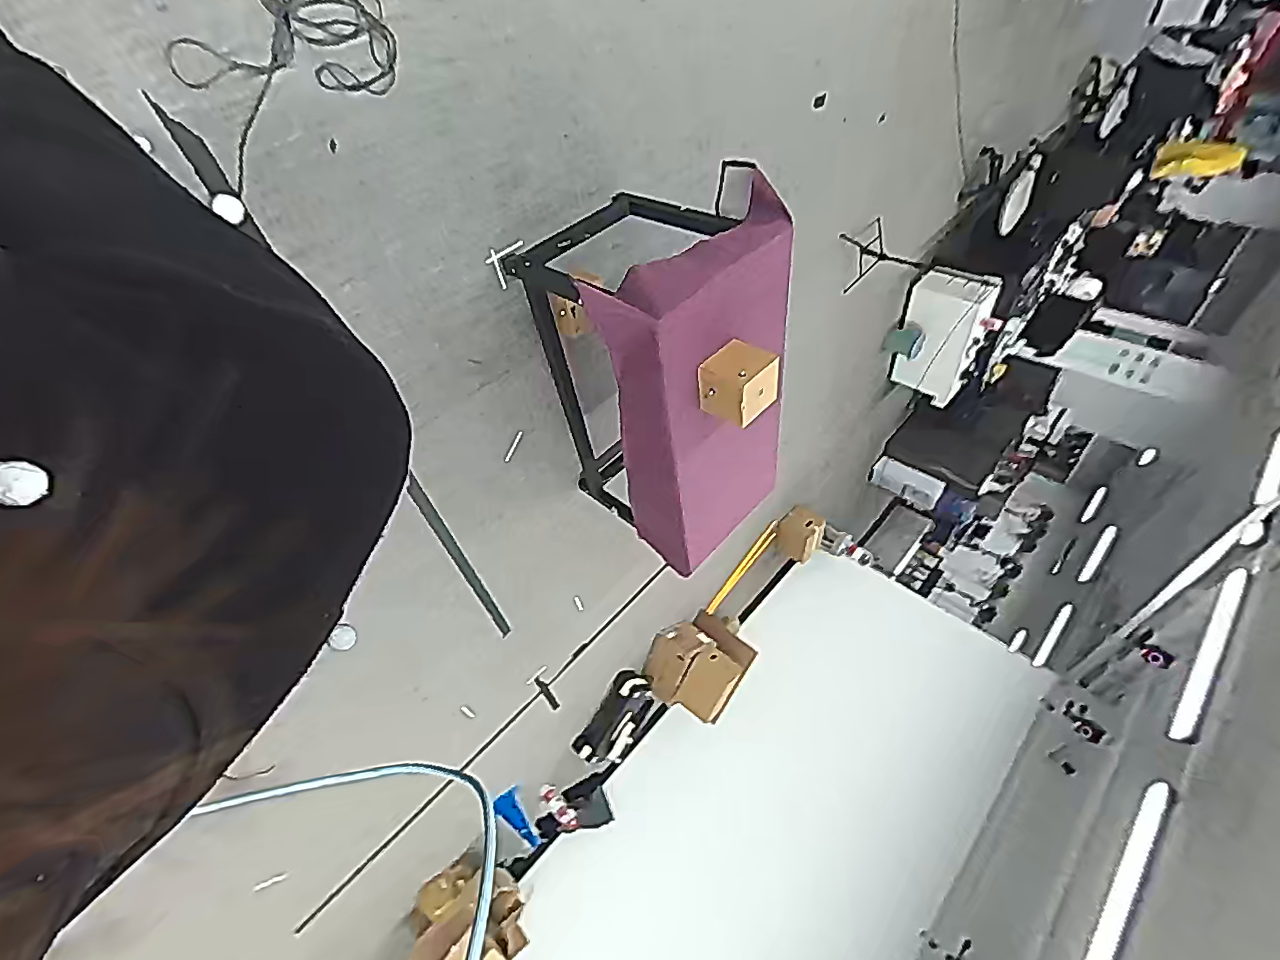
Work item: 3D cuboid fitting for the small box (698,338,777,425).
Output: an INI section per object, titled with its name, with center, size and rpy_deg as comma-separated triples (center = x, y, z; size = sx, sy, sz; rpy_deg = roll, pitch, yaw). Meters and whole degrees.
[small box]
center = 0.295, -0.306, 1.647
size = 0.179, 0.176, 0.168
rpy_deg = -41, 144, -24
